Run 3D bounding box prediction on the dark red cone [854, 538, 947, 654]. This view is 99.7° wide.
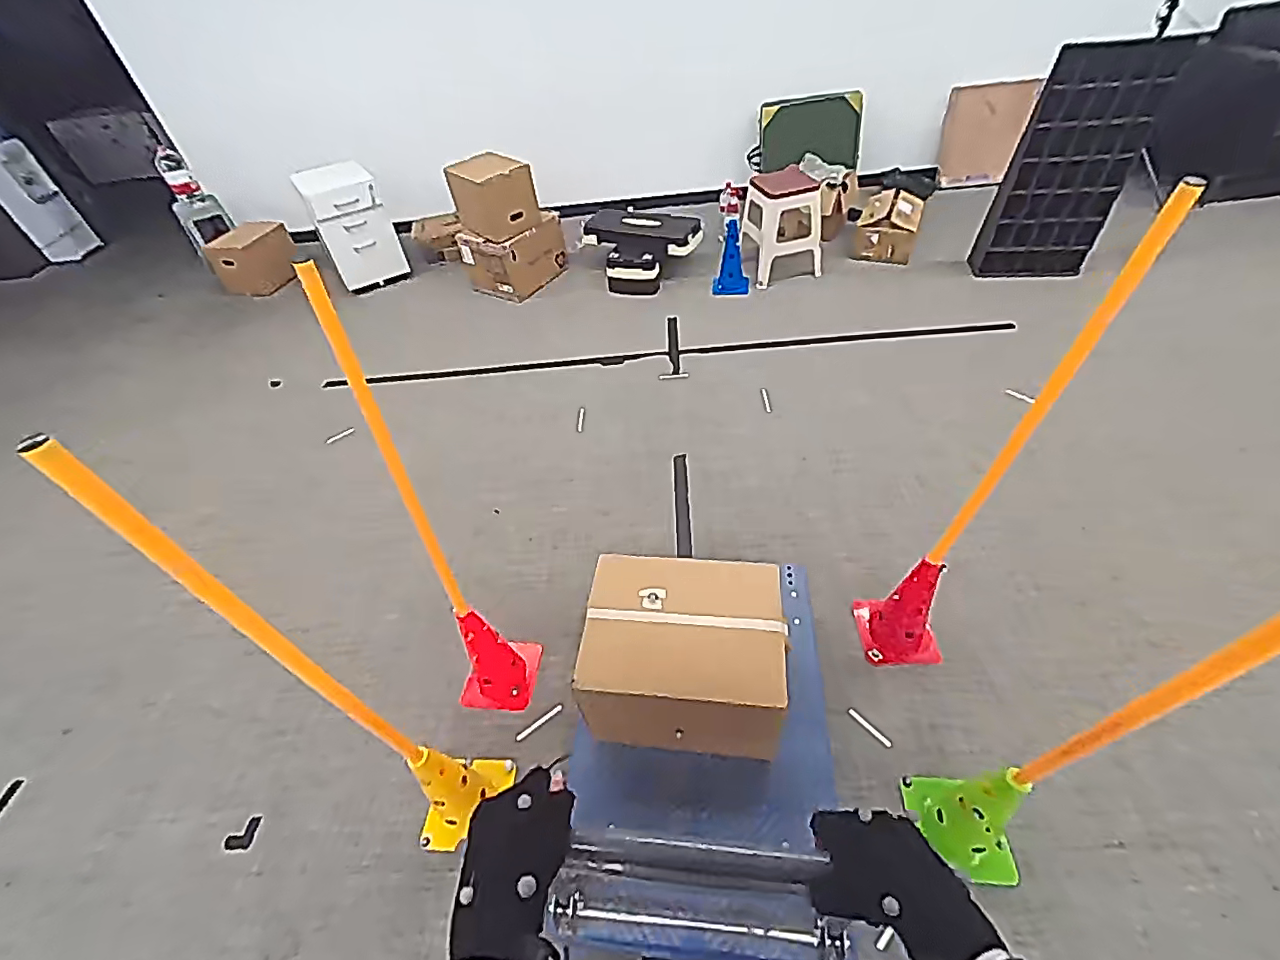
[{"bbox_3d":[0.715,0.288,1.412,0.201,0.394,0.202,-3,46,3],"label":"dark red cone"}]

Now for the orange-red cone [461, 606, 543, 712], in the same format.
[{"bbox_3d":[-0.408,0.444,1.444,0.198,0.360,0.199,2,45,8],"label":"orange-red cone"}]

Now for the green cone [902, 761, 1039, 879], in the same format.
[{"bbox_3d":[0.698,0.650,1.089,0.202,0.368,0.200,0,46,6],"label":"green cone"}]

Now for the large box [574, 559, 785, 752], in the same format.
[{"bbox_3d":[0.101,0.394,1.218,0.408,0.320,0.320,1,47,9],"label":"large box"}]
